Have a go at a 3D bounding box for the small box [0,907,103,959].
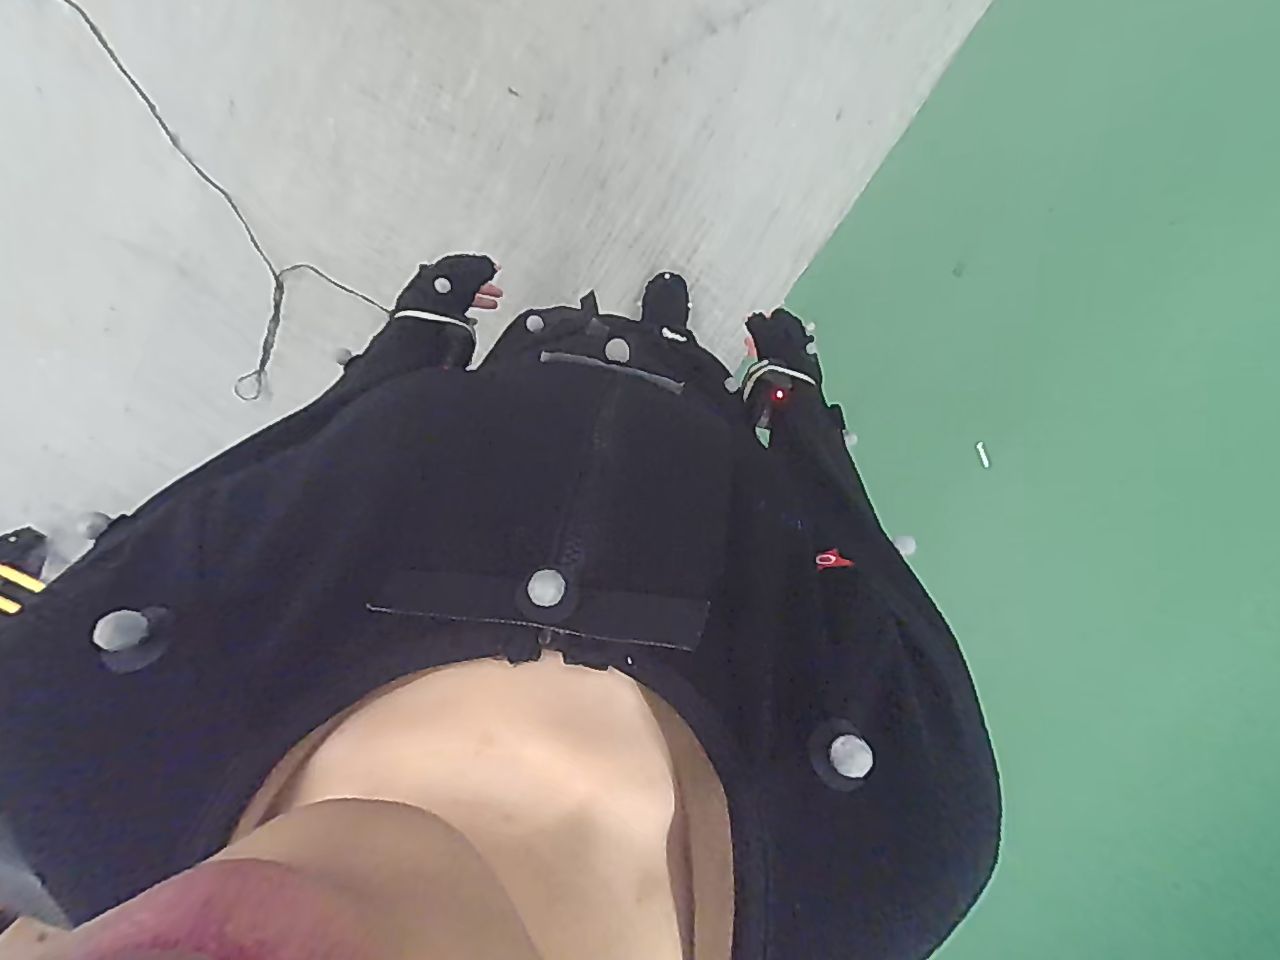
[{"bbox_3d":[-1.200,0.981,1.038,0.168,0.176,0.179,29,108,-8],"label":"small box"}]
